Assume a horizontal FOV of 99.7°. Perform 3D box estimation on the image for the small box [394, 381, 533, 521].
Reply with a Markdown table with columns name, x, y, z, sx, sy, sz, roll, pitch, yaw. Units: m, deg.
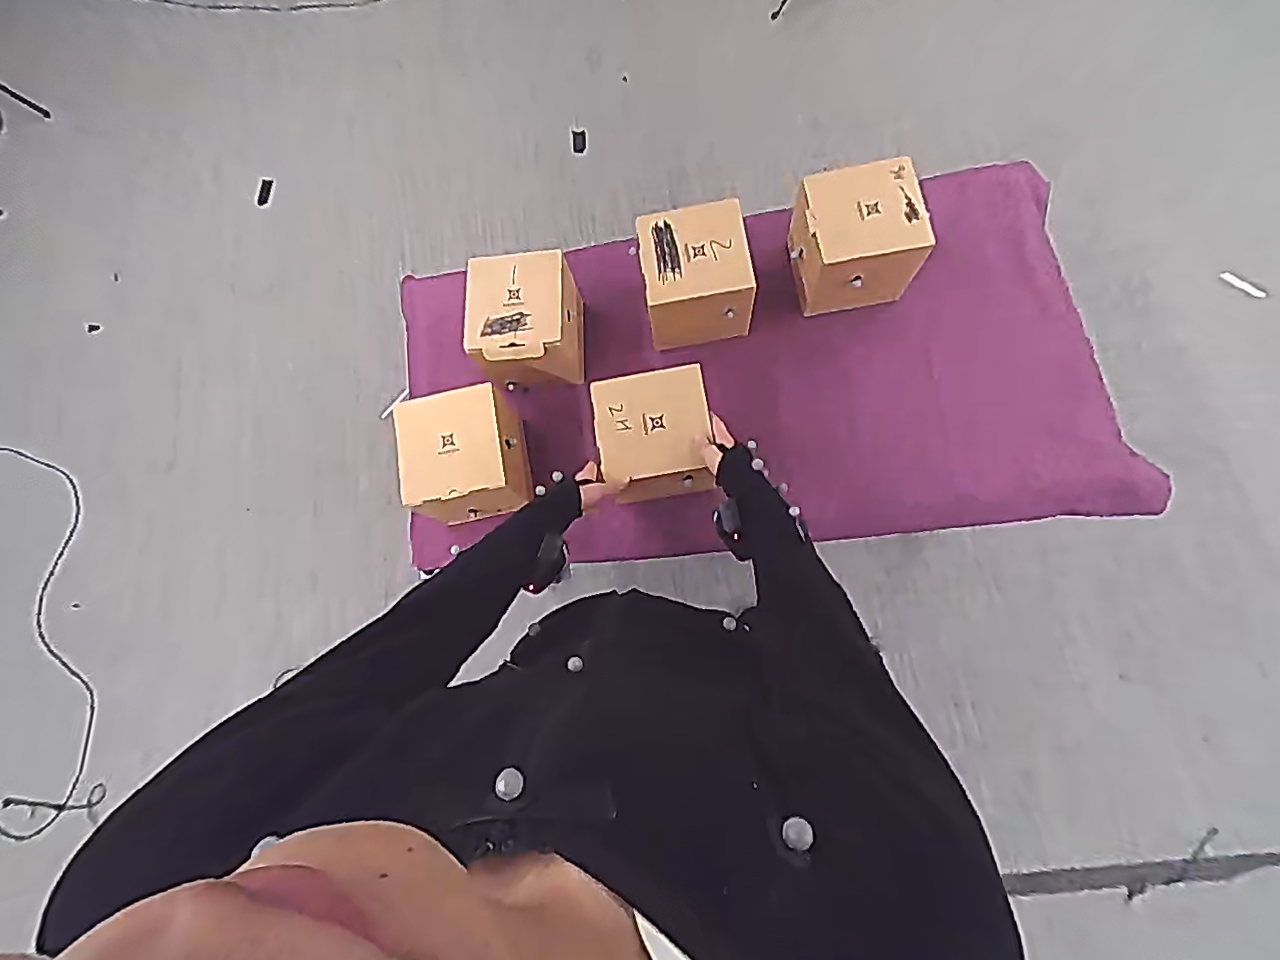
| name | x | y | z | sx | sy | sz | roll | pitch | yaw |
| --- | --- | --- | --- | --- | --- | --- | --- | --- | --- |
| small box | -0.291 | -0.041 | 0.915 | 0.168 | 0.176 | 0.179 | -12 | 77 | 2 |

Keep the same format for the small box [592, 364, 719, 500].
| name | x | y | z | sx | sy | sz | roll | pitch | yaw |
| --- | --- | --- | --- | --- | --- | --- | --- | --- | --- |
| small box | 0.028 | -0.070 | 0.886 | 0.179 | 0.176 | 0.168 | -9 | 76 | 5 |

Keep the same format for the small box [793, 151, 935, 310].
| name | x | y | z | sx | sy | sz | roll | pitch | yaw |
| --- | --- | --- | --- | --- | --- | --- | --- | --- | --- |
| small box | 0.366 | -0.412 | 0.922 | 0.179 | 0.176 | 0.168 | -9 | 79 | 6 |

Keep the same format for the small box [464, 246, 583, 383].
| name | x | y | z | sx | sy | sz | roll | pitch | yaw |
| --- | --- | --- | --- | --- | --- | --- | --- | --- | --- |
| small box | -0.198 | -0.282 | 0.961 | 0.168 | 0.176 | 0.179 | -3 | 77 | 5 |
